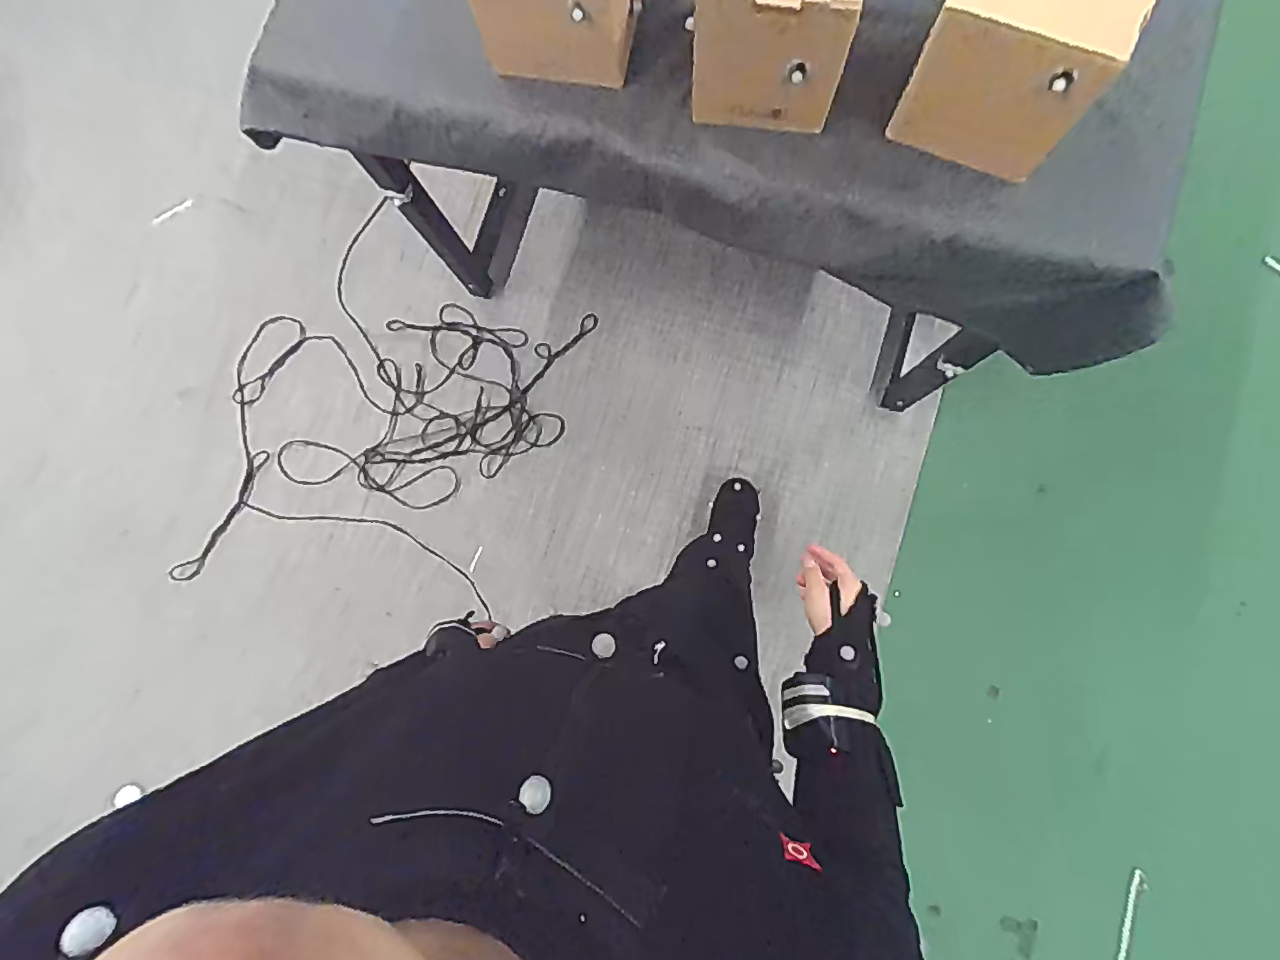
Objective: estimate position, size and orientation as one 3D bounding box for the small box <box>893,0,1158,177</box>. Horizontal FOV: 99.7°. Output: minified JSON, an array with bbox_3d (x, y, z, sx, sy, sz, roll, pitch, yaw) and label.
[{"bbox_3d":[0.410,-0.473,0.591,0.179,0.176,0.168,24,85,7],"label":"small box"}]

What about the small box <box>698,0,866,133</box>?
[{"bbox_3d":[0.160,-0.539,0.619,0.168,0.176,0.179,9,82,4],"label":"small box"}]
